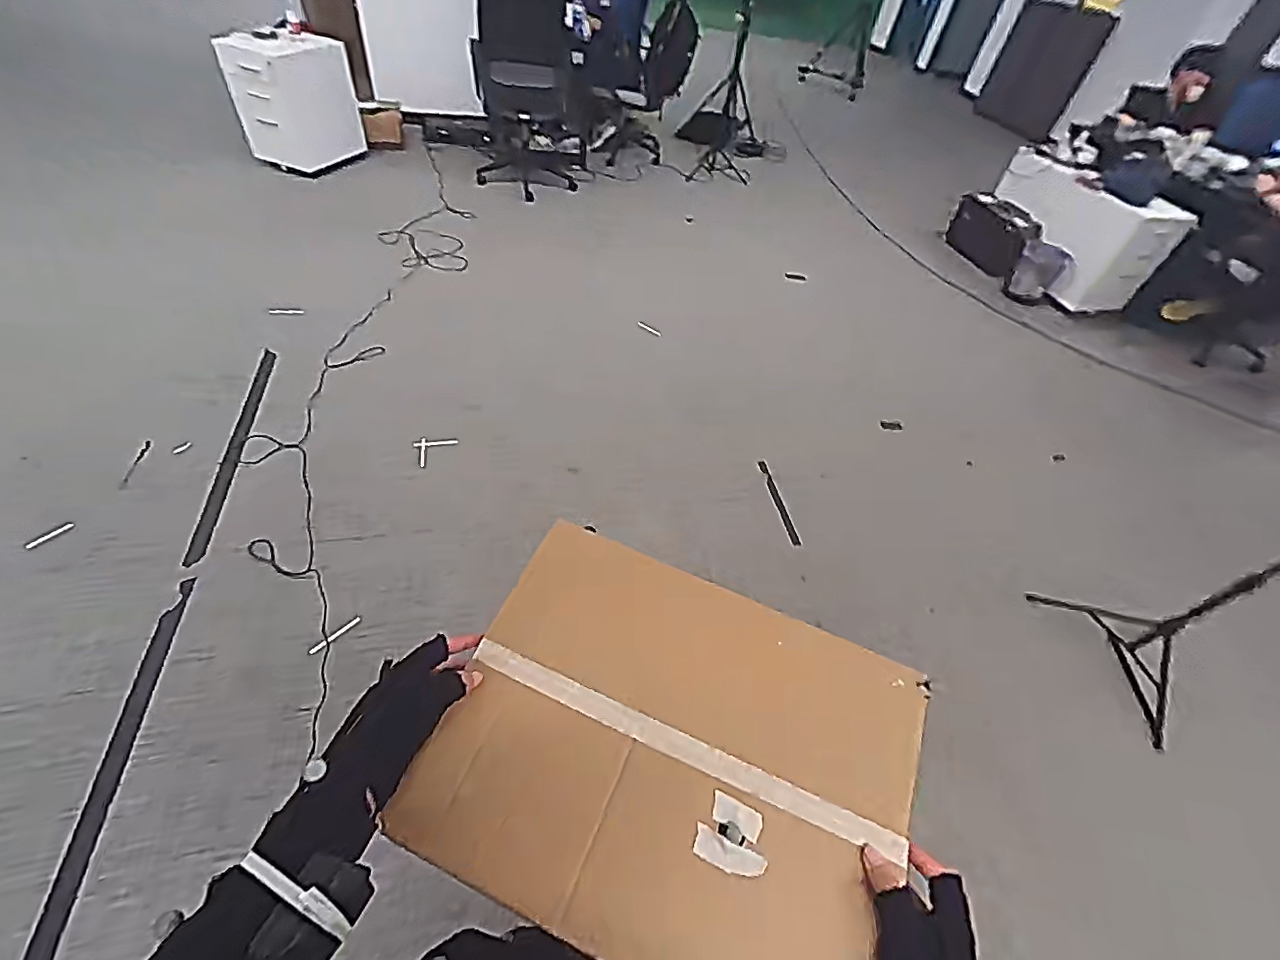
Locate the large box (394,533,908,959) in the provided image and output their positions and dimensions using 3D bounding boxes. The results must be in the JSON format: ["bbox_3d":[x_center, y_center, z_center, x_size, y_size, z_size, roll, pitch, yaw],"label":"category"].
[{"bbox_3d":[0.020,0.322,0.621,0.408,0.320,0.320,22,58,9],"label":"large box"}]
